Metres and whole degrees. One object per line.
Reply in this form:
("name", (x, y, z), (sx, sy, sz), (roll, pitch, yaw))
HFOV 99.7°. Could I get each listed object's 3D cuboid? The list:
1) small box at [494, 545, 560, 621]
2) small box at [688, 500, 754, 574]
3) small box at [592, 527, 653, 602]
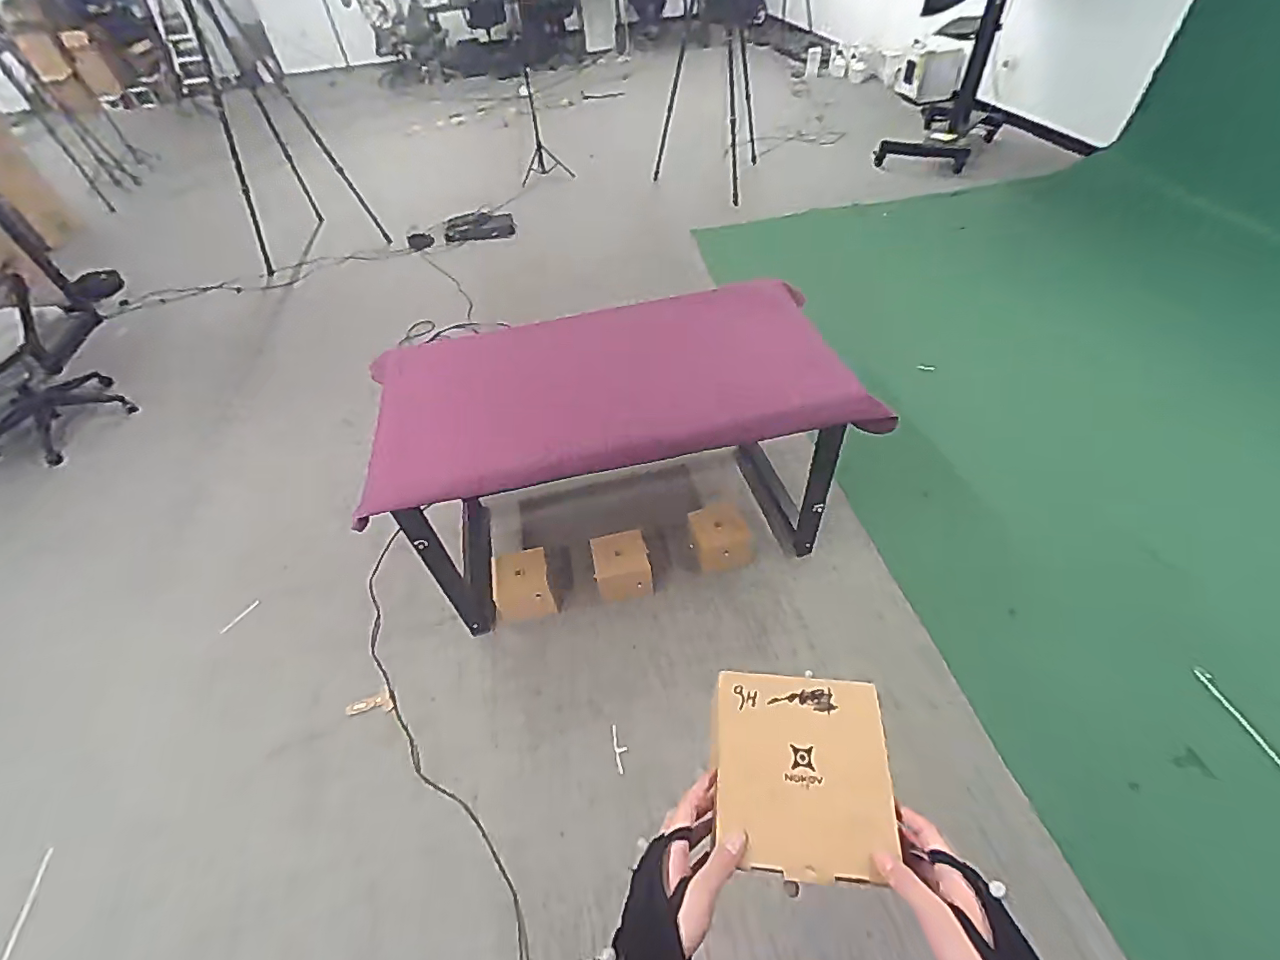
("small box", (-0.374, 0.344, 1.789), (0.179, 0.176, 0.168), (-12, 48, -5))
("small box", (0.274, 0.198, 1.845), (0.179, 0.176, 0.168), (-14, 49, -6))
("small box", (-0.055, 0.286, 1.806), (0.179, 0.176, 0.168), (-12, 48, -3))
